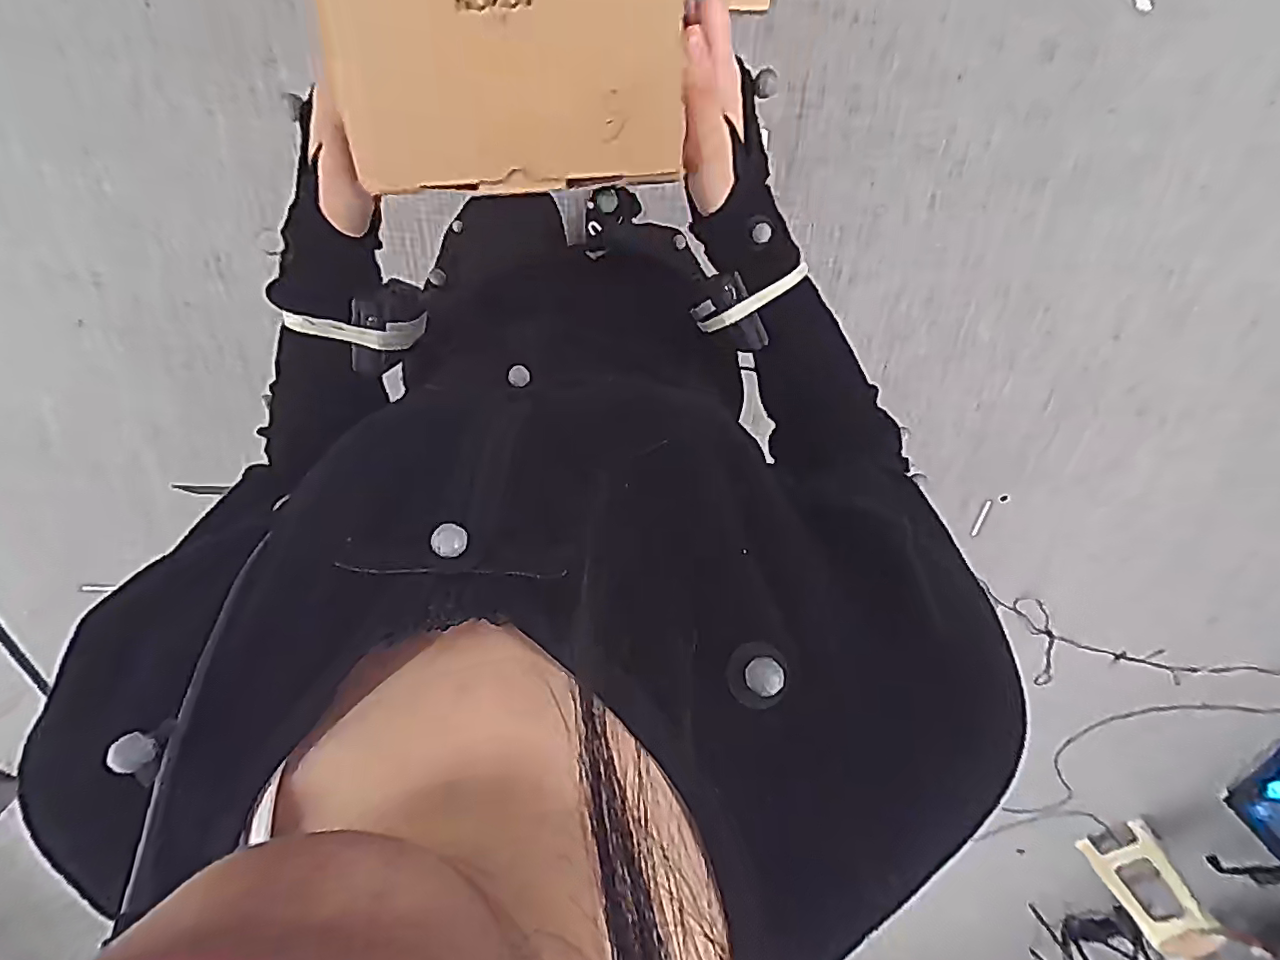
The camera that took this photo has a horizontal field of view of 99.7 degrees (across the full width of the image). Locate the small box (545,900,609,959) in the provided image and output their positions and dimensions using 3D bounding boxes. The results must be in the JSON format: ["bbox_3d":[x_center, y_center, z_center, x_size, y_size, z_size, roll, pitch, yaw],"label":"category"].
[{"bbox_3d":[-0.170,1.255,1.445,0.168,0.176,0.179,3,122,-4],"label":"small box"}]

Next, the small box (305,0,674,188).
[{"bbox_3d":[-0.064,-0.265,0.299,0.168,0.176,0.179,-2,118,2],"label":"small box"}]
